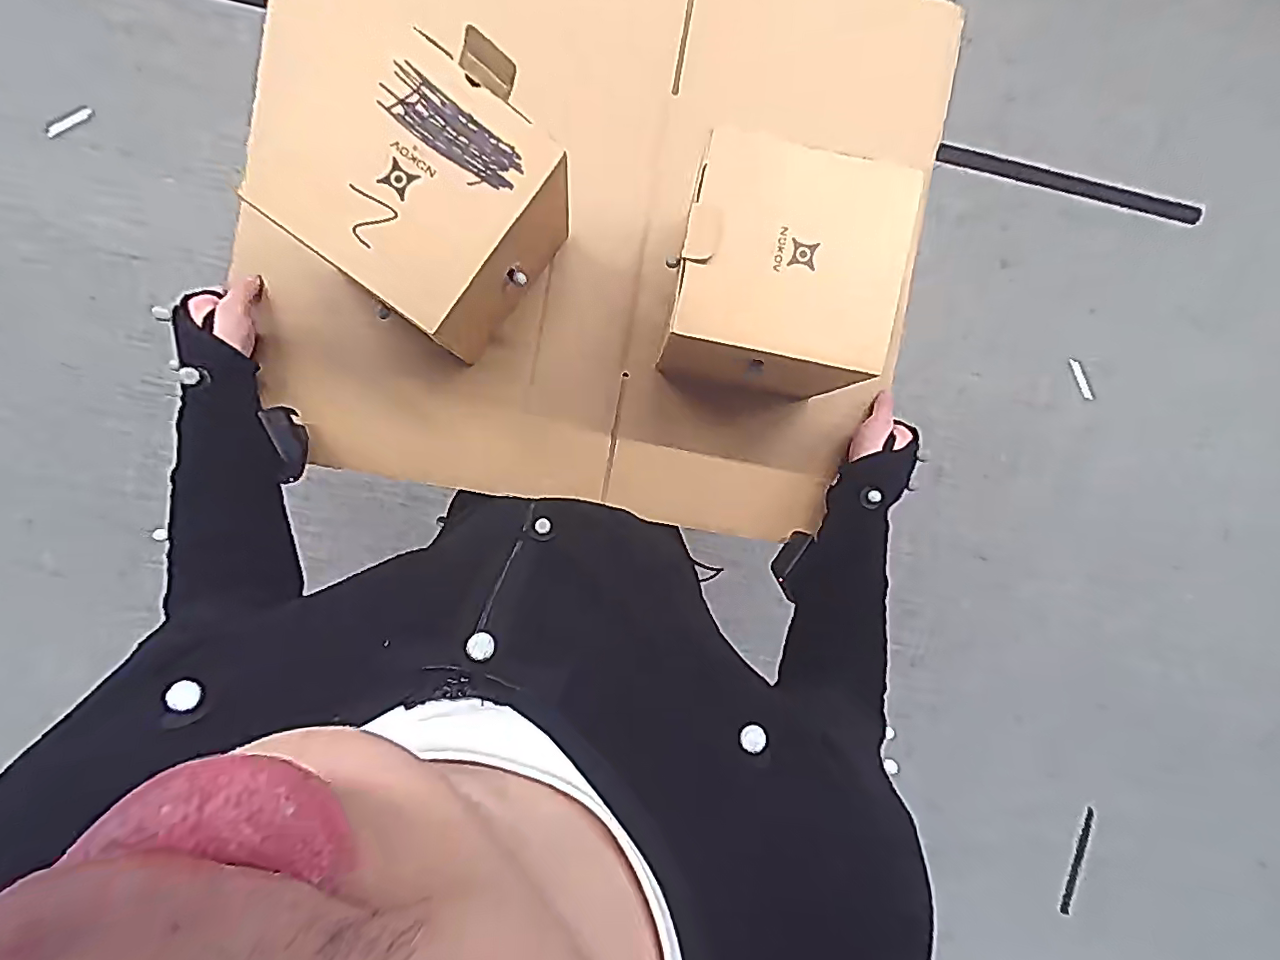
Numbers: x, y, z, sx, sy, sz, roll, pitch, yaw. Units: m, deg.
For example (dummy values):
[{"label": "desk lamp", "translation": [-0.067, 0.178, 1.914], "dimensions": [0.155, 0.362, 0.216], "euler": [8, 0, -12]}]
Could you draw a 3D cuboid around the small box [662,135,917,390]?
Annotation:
[{"label": "small box", "translation": [0.125, -0.188, 0.523], "dimensions": [0.179, 0.176, 0.168], "euler": [11, 92, -2]}]
